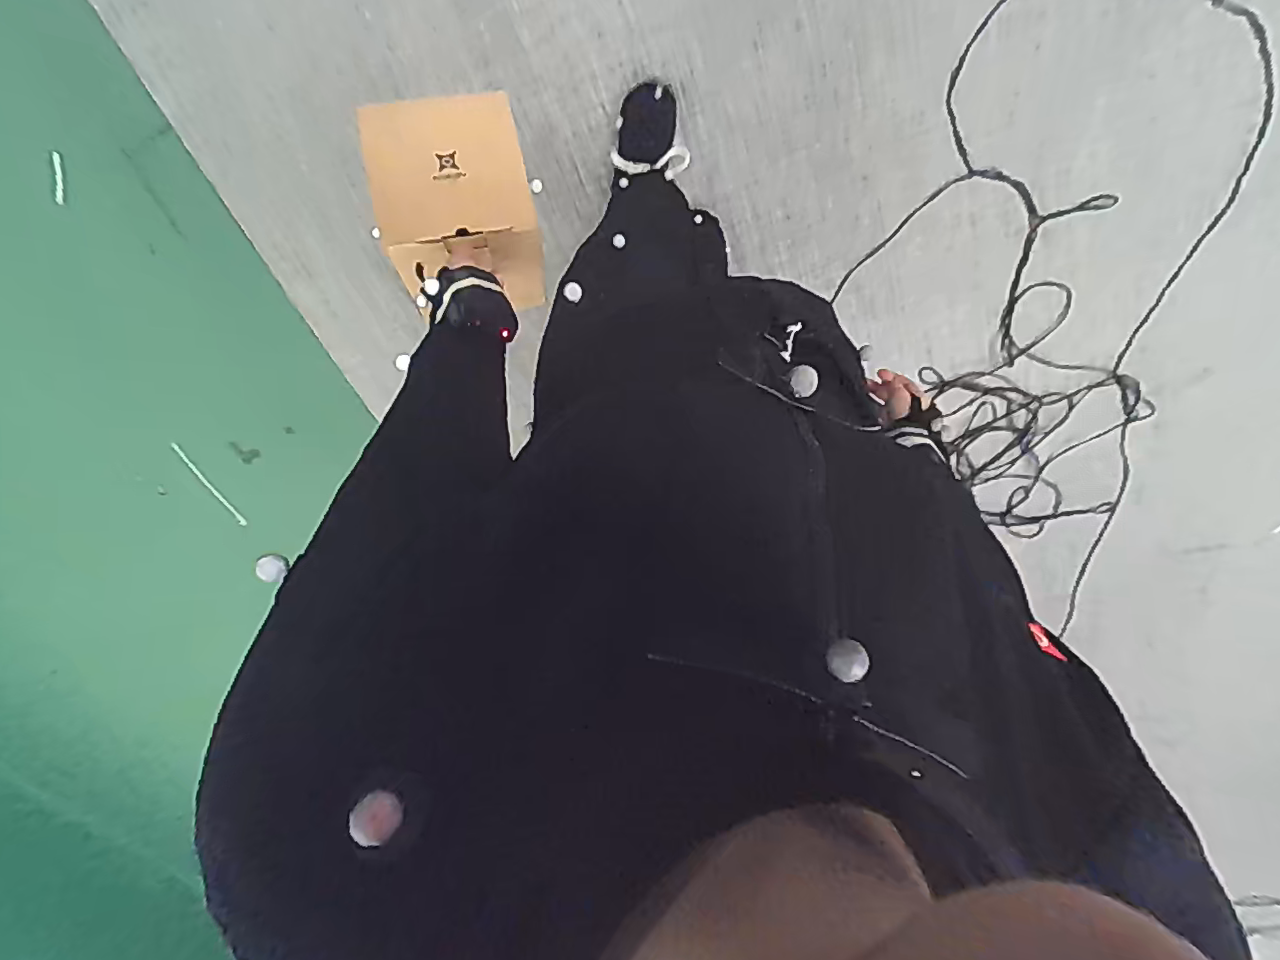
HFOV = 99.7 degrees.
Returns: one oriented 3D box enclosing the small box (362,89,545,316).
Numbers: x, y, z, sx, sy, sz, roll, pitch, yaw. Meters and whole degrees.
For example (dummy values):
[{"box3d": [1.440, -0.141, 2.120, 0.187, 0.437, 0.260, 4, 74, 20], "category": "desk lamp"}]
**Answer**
[{"box3d": [-0.214, -0.328, 0.660, 0.168, 0.176, 0.179, -12, 81, -10], "category": "small box"}]
